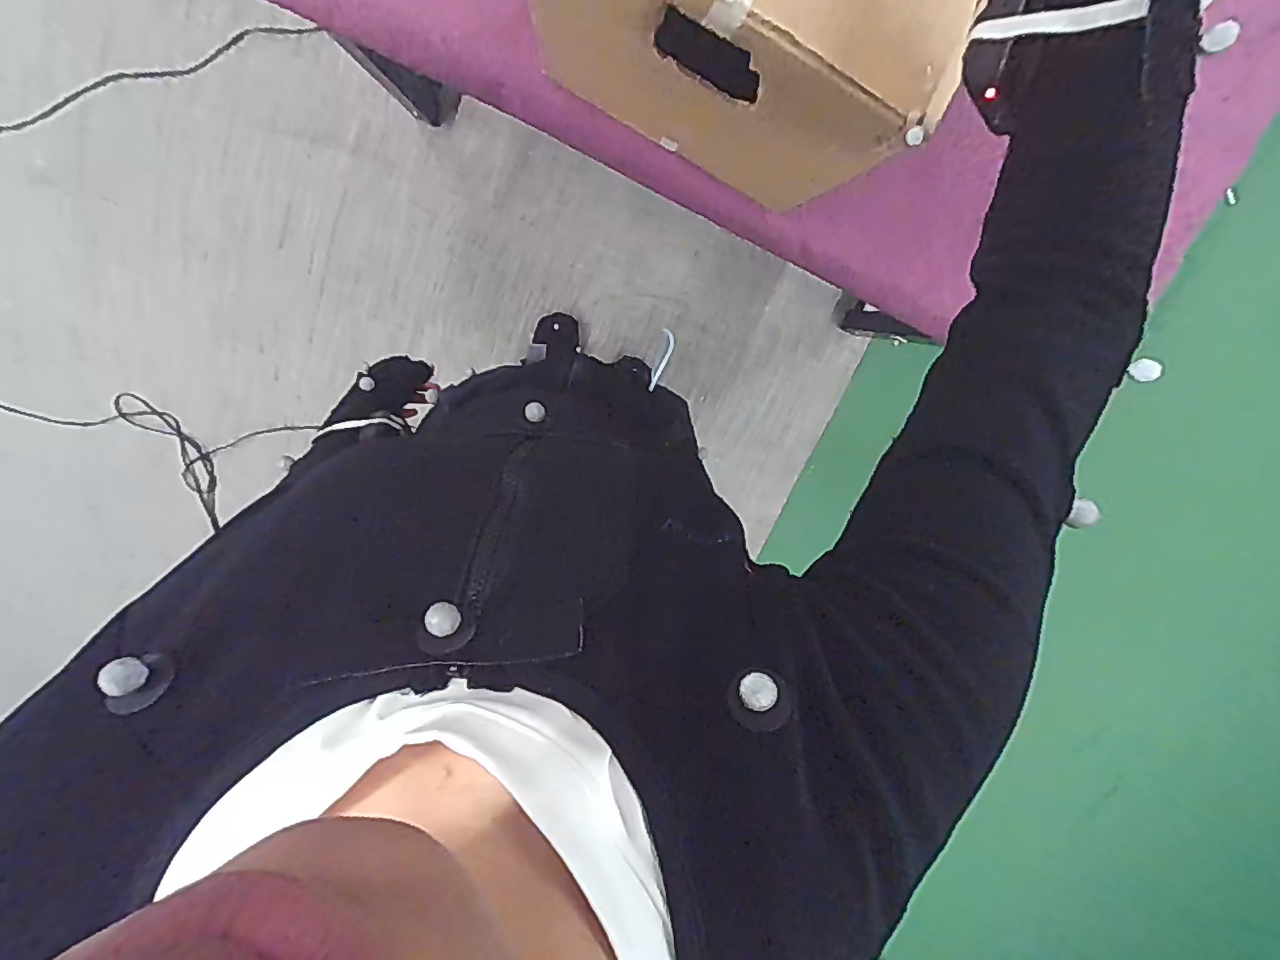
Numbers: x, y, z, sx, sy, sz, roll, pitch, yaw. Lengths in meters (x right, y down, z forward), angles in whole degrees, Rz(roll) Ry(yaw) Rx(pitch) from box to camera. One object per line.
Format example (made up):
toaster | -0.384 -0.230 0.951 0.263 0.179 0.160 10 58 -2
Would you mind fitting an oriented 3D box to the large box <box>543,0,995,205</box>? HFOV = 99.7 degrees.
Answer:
large box | 0.135 -0.519 0.449 0.320 0.320 0.408 24 105 -11
